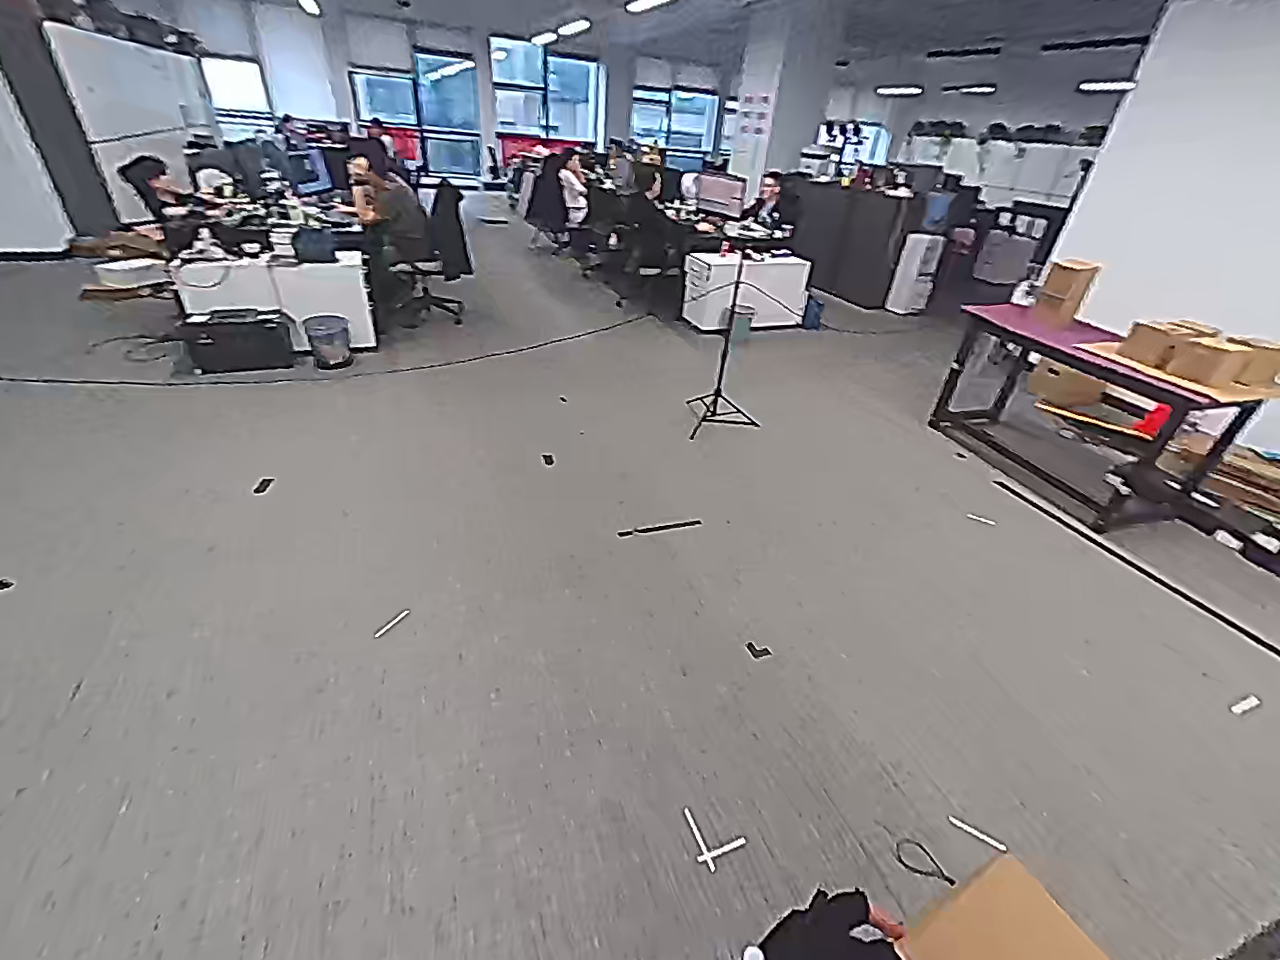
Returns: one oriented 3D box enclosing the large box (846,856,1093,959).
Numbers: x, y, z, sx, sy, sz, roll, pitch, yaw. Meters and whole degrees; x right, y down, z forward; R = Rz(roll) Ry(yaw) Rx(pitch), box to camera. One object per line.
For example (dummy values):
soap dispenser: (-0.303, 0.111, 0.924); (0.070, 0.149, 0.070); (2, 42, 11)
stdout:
large box: (0.300, 0.624, 0.424); (0.320, 0.320, 0.408); (-21, 45, -21)
